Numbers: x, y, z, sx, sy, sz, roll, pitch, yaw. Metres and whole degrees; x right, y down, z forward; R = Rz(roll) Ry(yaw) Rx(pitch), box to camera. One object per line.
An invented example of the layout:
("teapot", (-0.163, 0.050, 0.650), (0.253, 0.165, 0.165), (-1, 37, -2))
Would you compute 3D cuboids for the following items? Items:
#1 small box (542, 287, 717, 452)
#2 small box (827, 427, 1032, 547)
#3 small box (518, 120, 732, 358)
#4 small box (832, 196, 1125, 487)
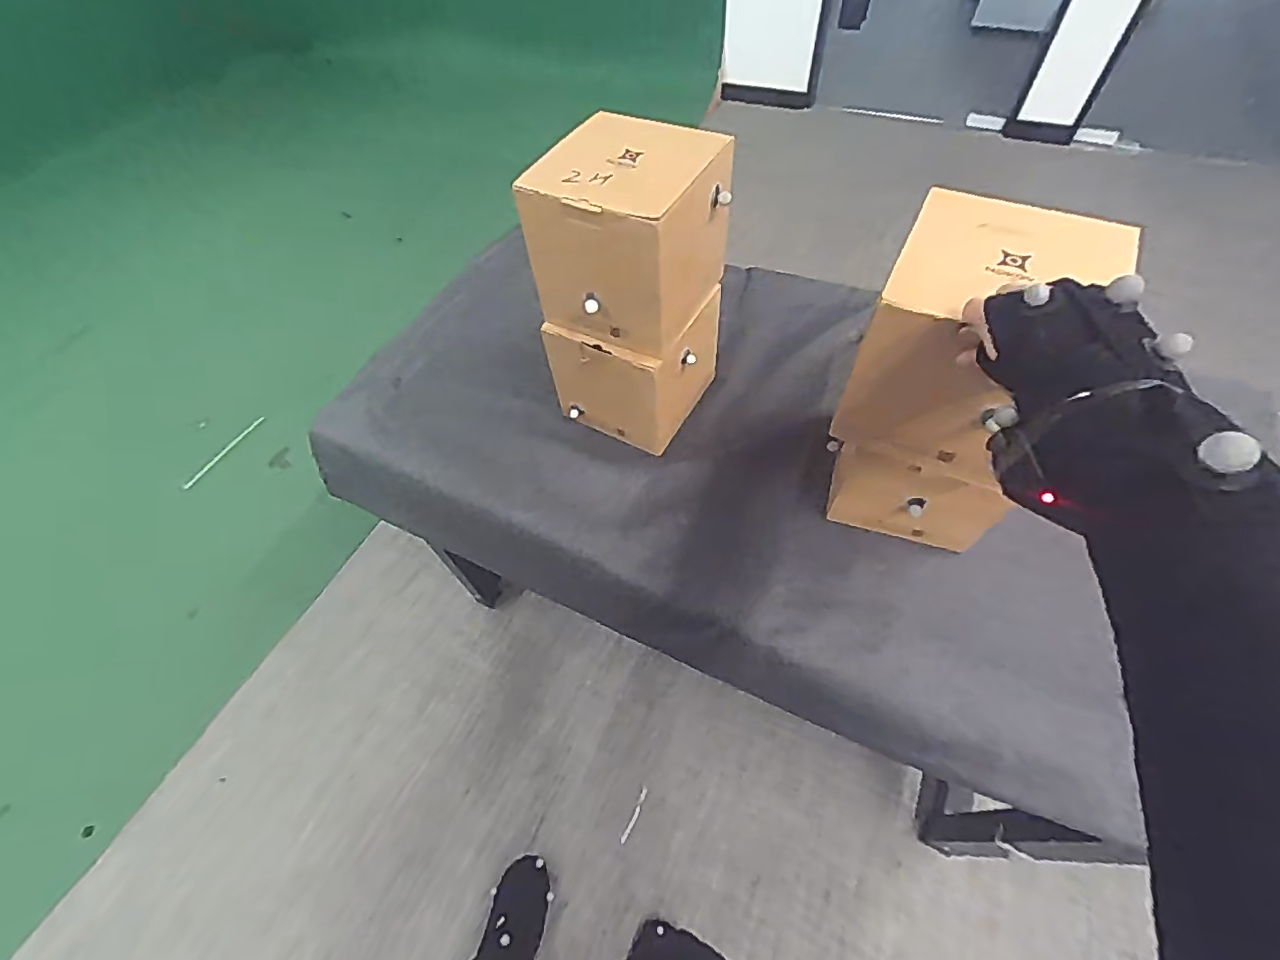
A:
("small box", (-0.006, -0.169, 0.749), (0.168, 0.176, 0.179), (25, 60, 19))
("small box", (0.329, -0.044, 0.640), (0.168, 0.176, 0.179), (14, 59, 13))
("small box", (-0.010, -0.274, 0.621), (0.168, 0.176, 0.179), (22, 60, 19))
("small box", (0.293, -0.123, 0.498), (0.168, 0.176, 0.179), (23, 59, 17))
